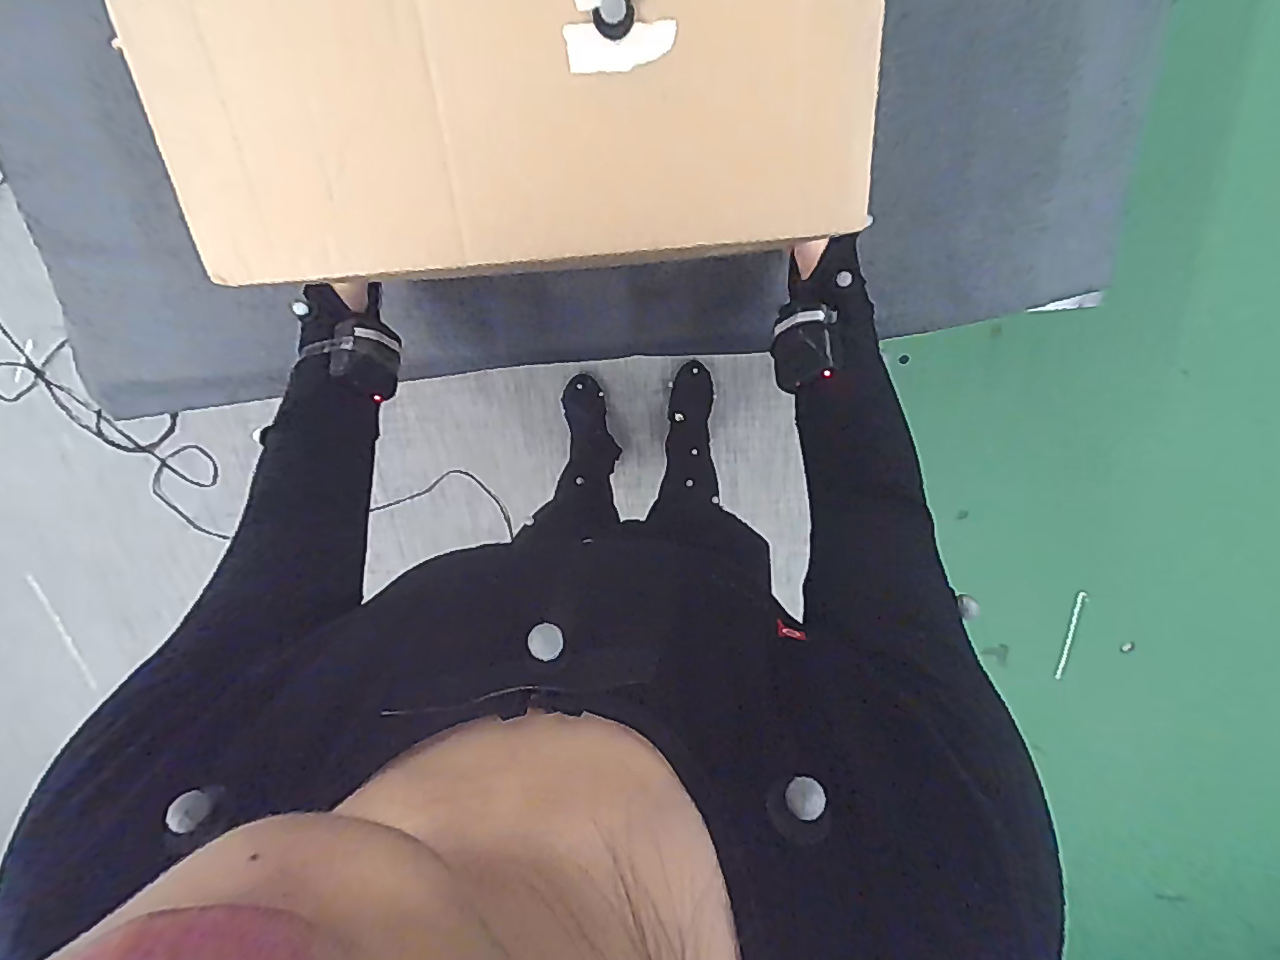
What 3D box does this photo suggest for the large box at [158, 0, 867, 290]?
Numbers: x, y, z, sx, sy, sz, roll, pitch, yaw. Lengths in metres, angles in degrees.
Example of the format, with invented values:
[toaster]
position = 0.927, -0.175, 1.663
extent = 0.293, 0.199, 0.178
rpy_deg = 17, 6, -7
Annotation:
[large box]
position = -0.073, -0.336, 0.434
extent = 0.408, 0.320, 0.320
rpy_deg = -4, 111, 3
